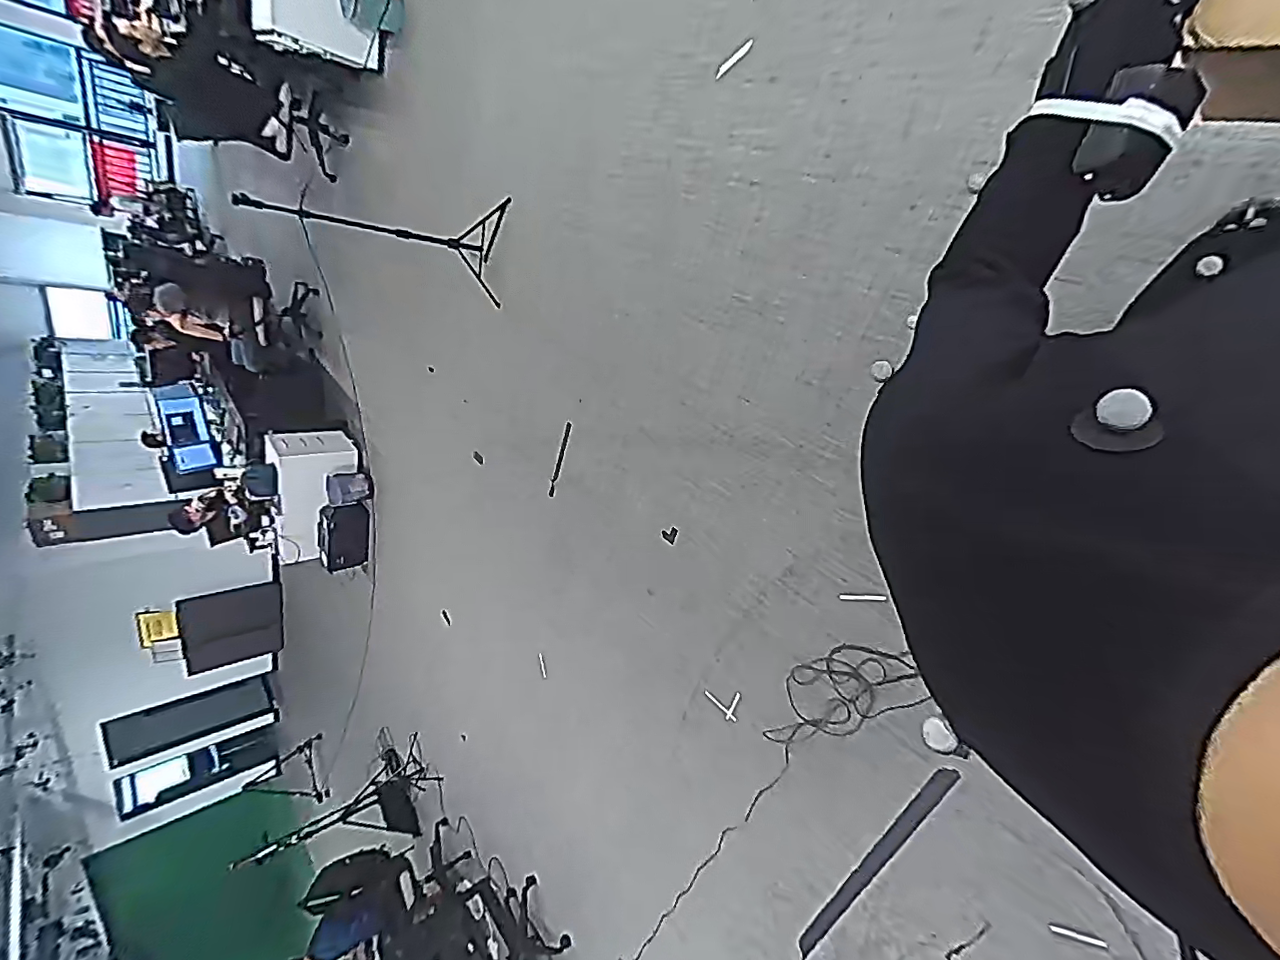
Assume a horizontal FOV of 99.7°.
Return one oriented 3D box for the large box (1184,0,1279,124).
[{"bbox_3d":[0.614,-0.382,0.268,0.408,0.320,0.320,30,127,36],"label":"large box"}]
